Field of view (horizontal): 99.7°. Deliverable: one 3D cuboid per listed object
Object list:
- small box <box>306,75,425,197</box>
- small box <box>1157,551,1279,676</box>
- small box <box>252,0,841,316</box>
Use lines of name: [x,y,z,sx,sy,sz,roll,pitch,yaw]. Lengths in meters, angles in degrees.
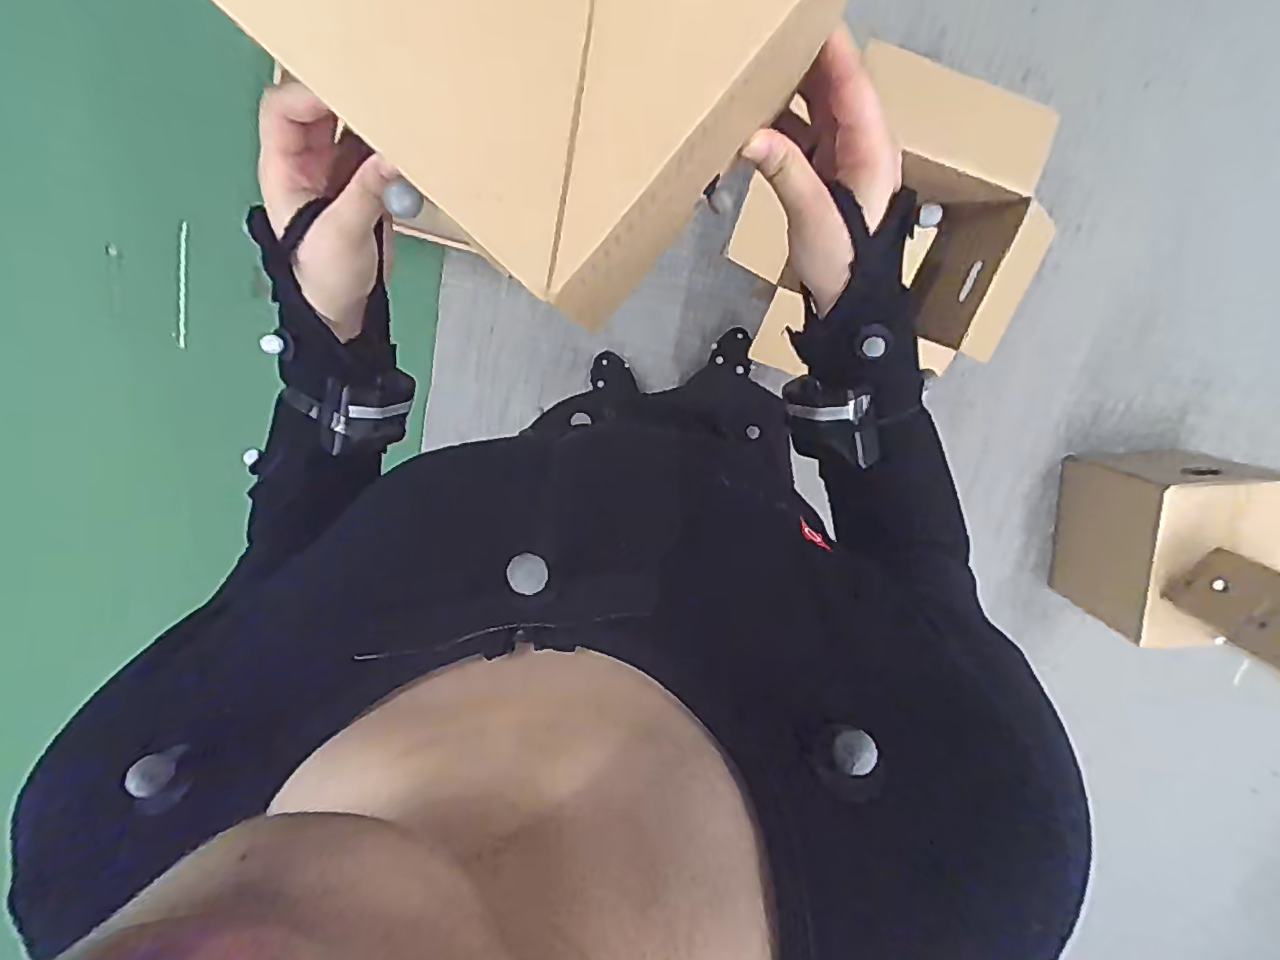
small box: [-0.567,-0.752,1.167,0.168,0.176,0.179,29,103,-8]
small box: [1.299,0.275,1.167,0.179,0.176,0.168,35,104,-6]
small box: [-0.026,-0.198,0.237,0.168,0.176,0.179,41,98,-7]
